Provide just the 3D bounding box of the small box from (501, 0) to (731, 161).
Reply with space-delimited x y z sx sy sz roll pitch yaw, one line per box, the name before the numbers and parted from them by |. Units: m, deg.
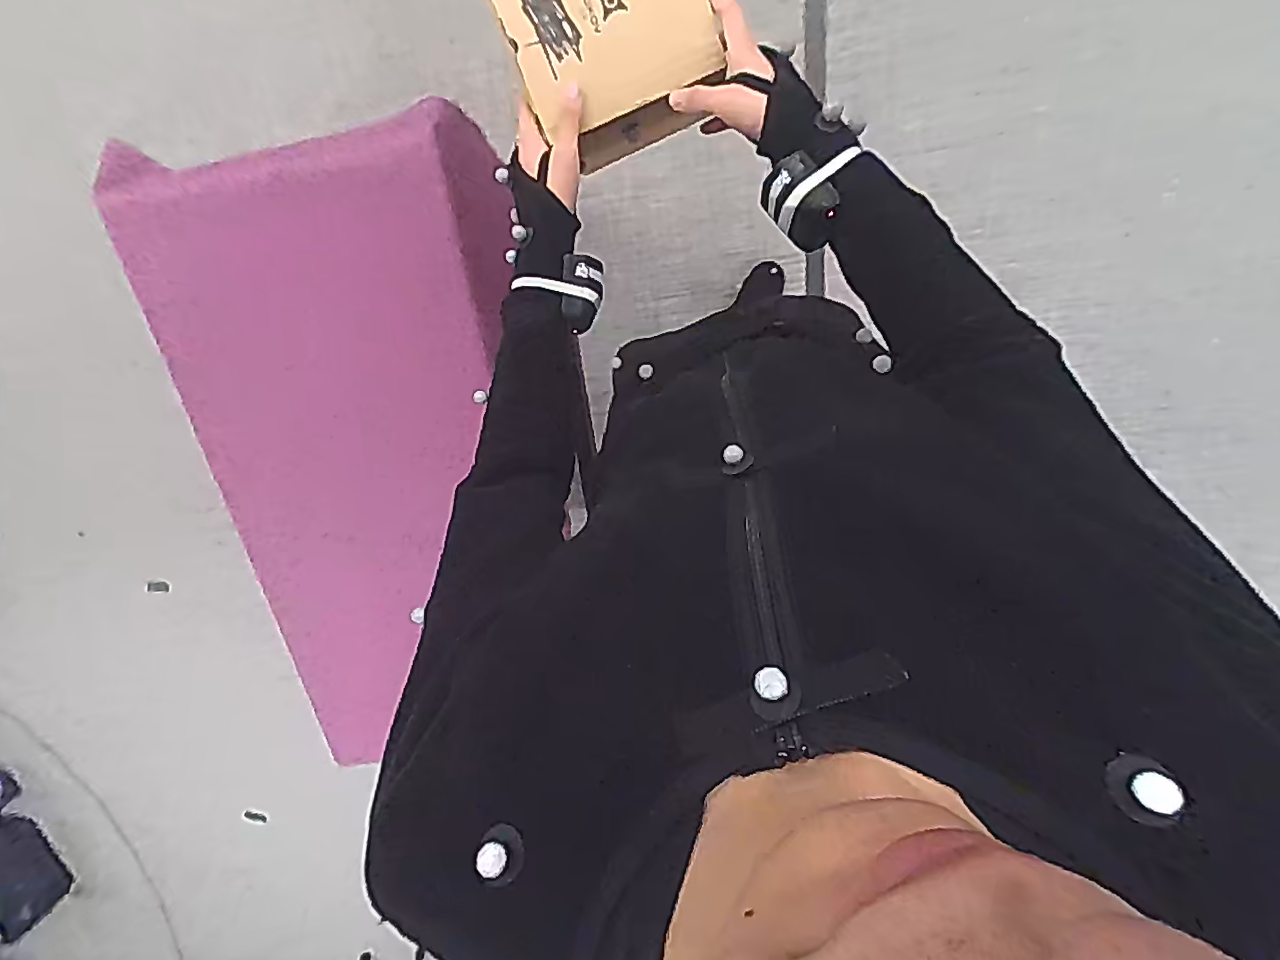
small box | -0.020 -0.441 0.531 0.179 0.176 0.168 -18 110 12
